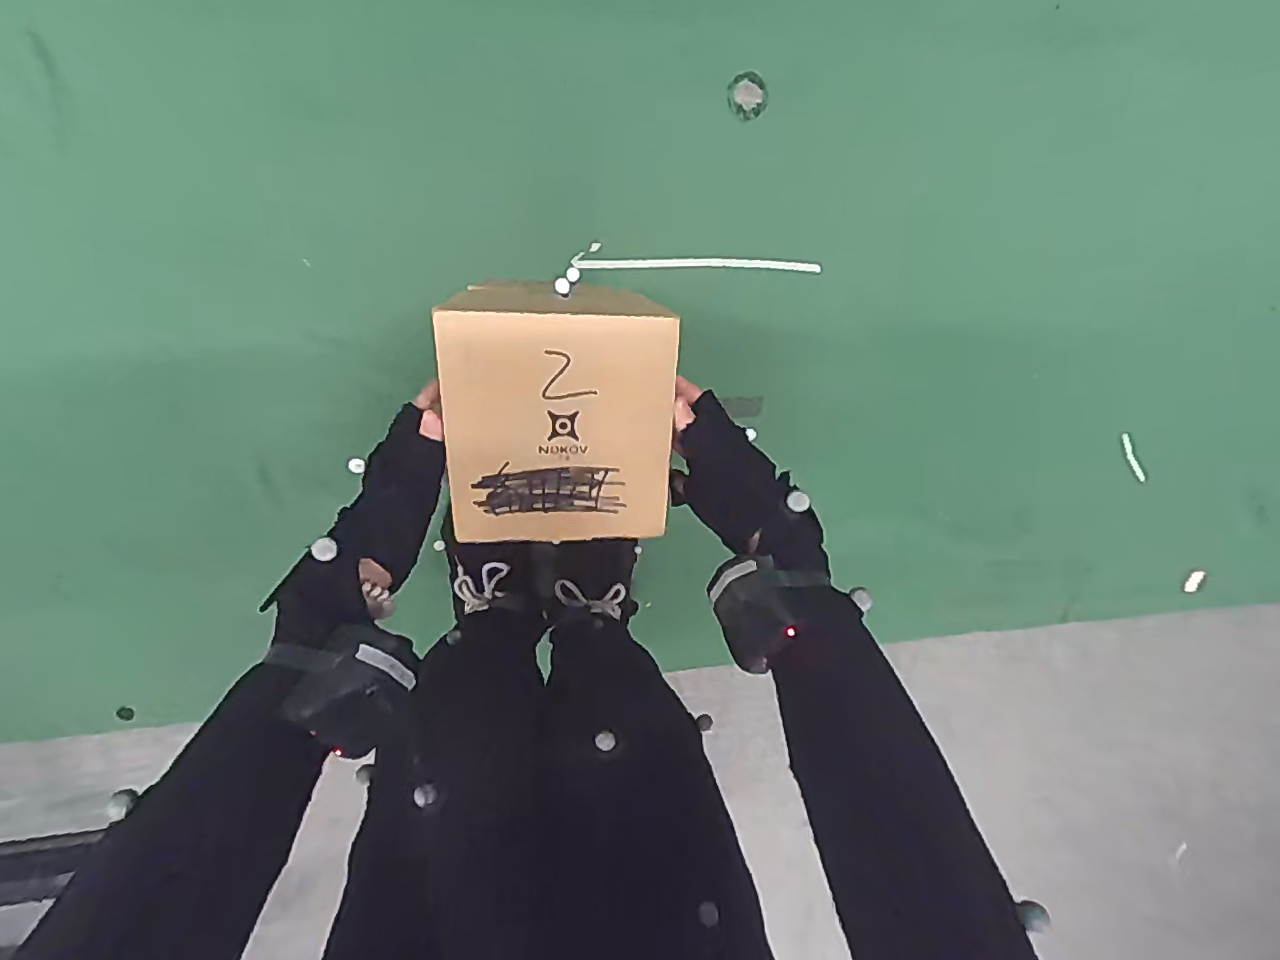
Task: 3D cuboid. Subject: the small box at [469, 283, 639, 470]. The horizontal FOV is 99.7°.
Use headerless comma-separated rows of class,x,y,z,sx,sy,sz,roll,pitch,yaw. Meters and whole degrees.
small box,-0.100,-0.124,0.625,0.168,0.176,0.179,1,113,-10
